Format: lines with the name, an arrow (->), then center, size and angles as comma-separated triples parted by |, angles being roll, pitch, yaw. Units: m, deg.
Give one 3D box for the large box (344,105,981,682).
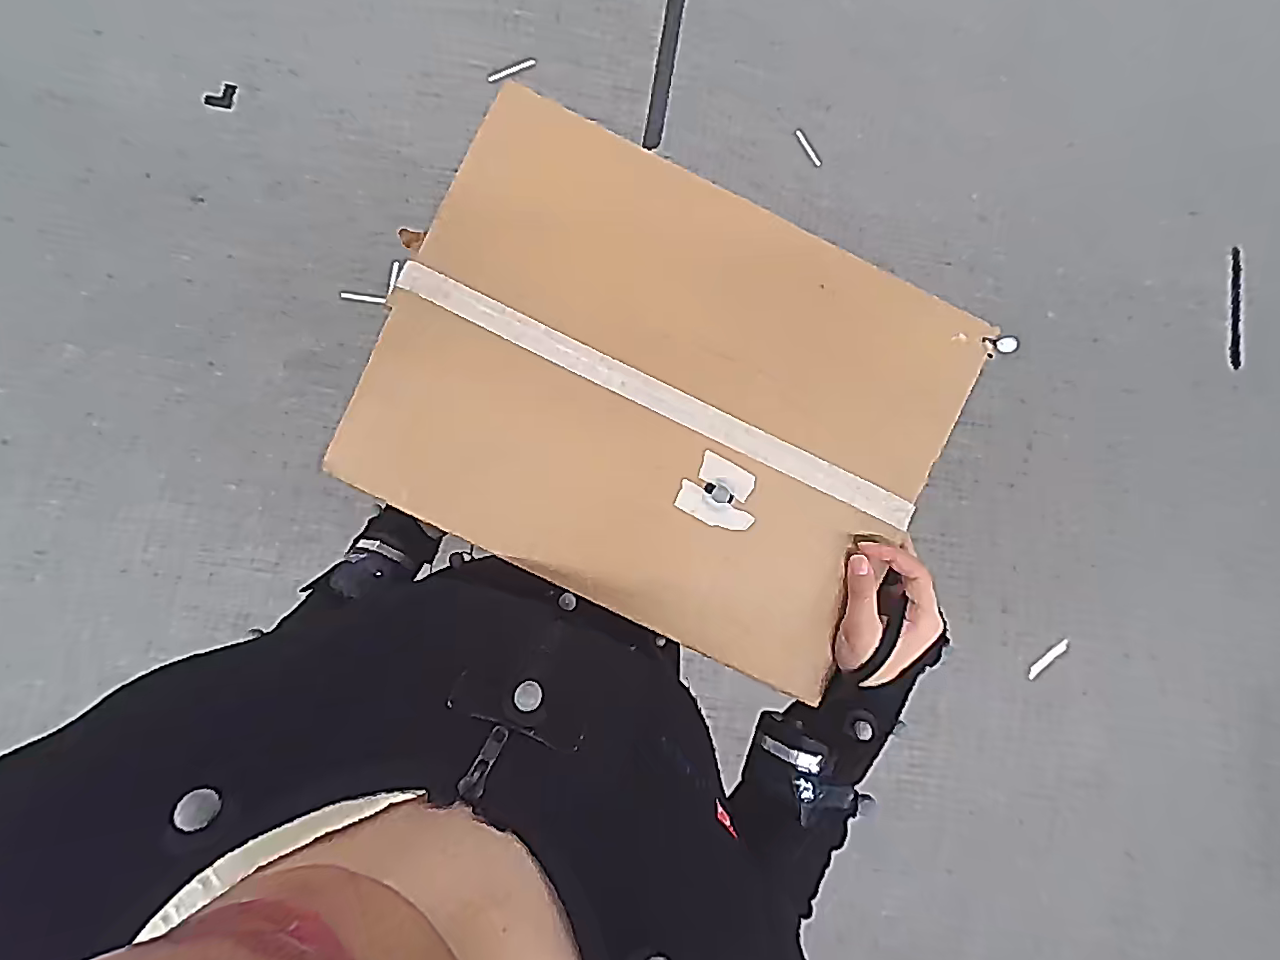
large box -> 0.014, -0.063, 0.553 | 0.408, 0.320, 0.320 | 25, 91, -3
